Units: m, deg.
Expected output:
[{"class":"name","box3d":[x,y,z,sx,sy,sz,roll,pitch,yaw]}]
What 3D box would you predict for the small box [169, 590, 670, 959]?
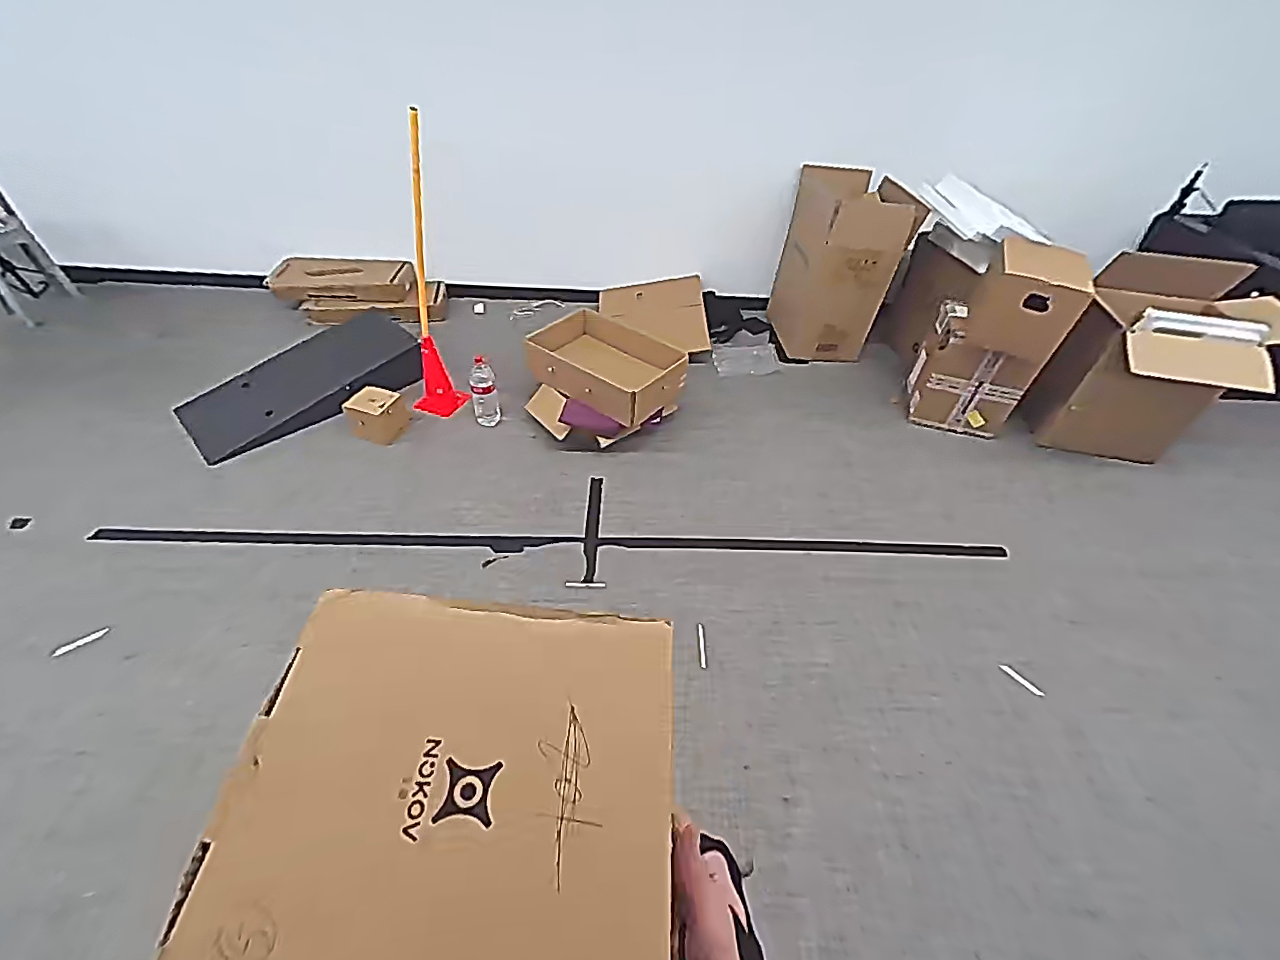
[{"class":"small box","box3d":[-0.084,0.178,0.295,0.179,0.176,0.168,7,52,-4]}]
